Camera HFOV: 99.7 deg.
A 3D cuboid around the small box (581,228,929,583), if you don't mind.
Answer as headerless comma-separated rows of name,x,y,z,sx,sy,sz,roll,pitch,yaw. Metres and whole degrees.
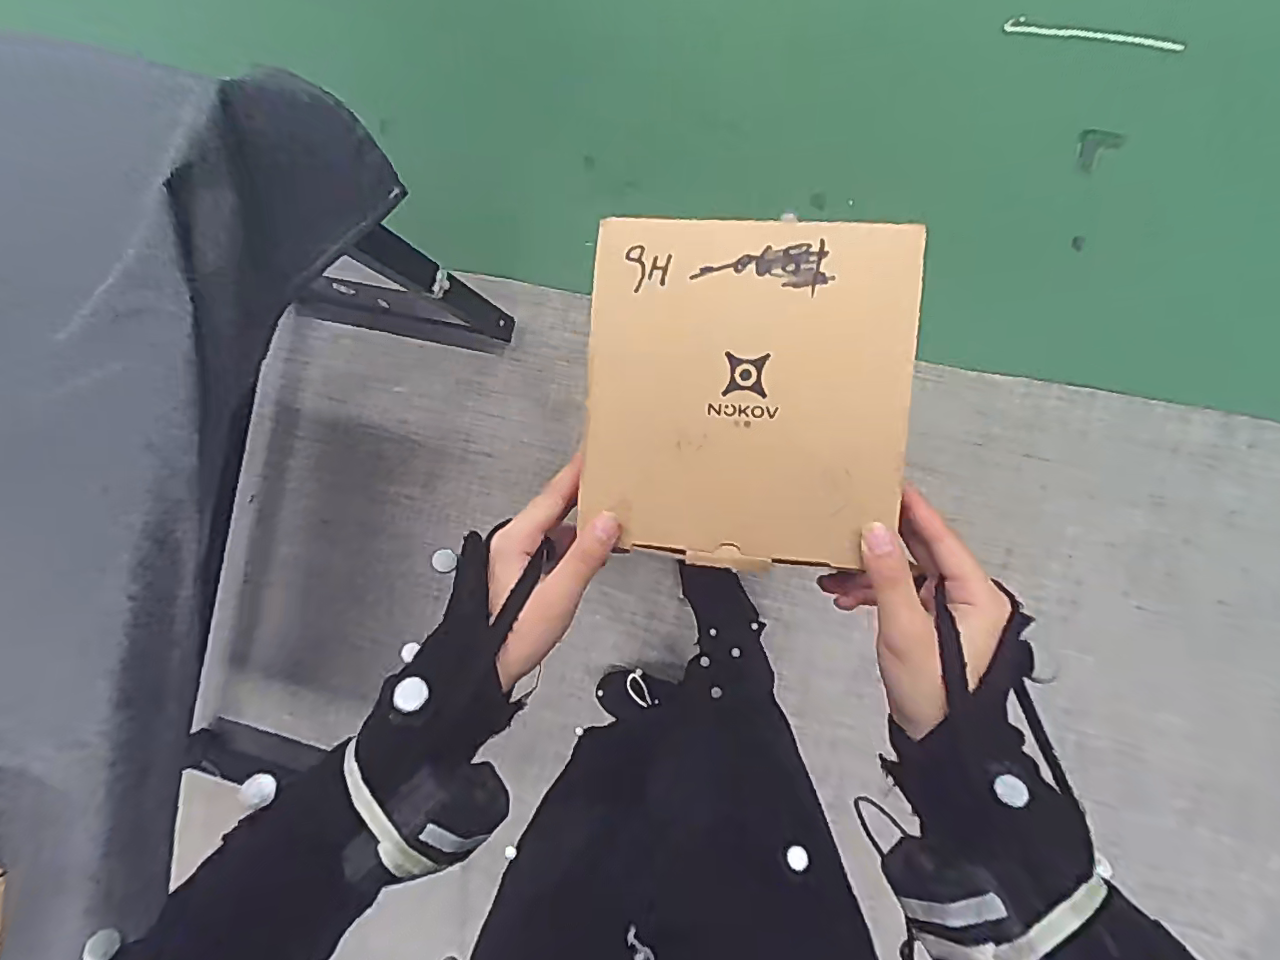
small box,0.066,-0.043,0.358,0.168,0.176,0.179,5,92,7
